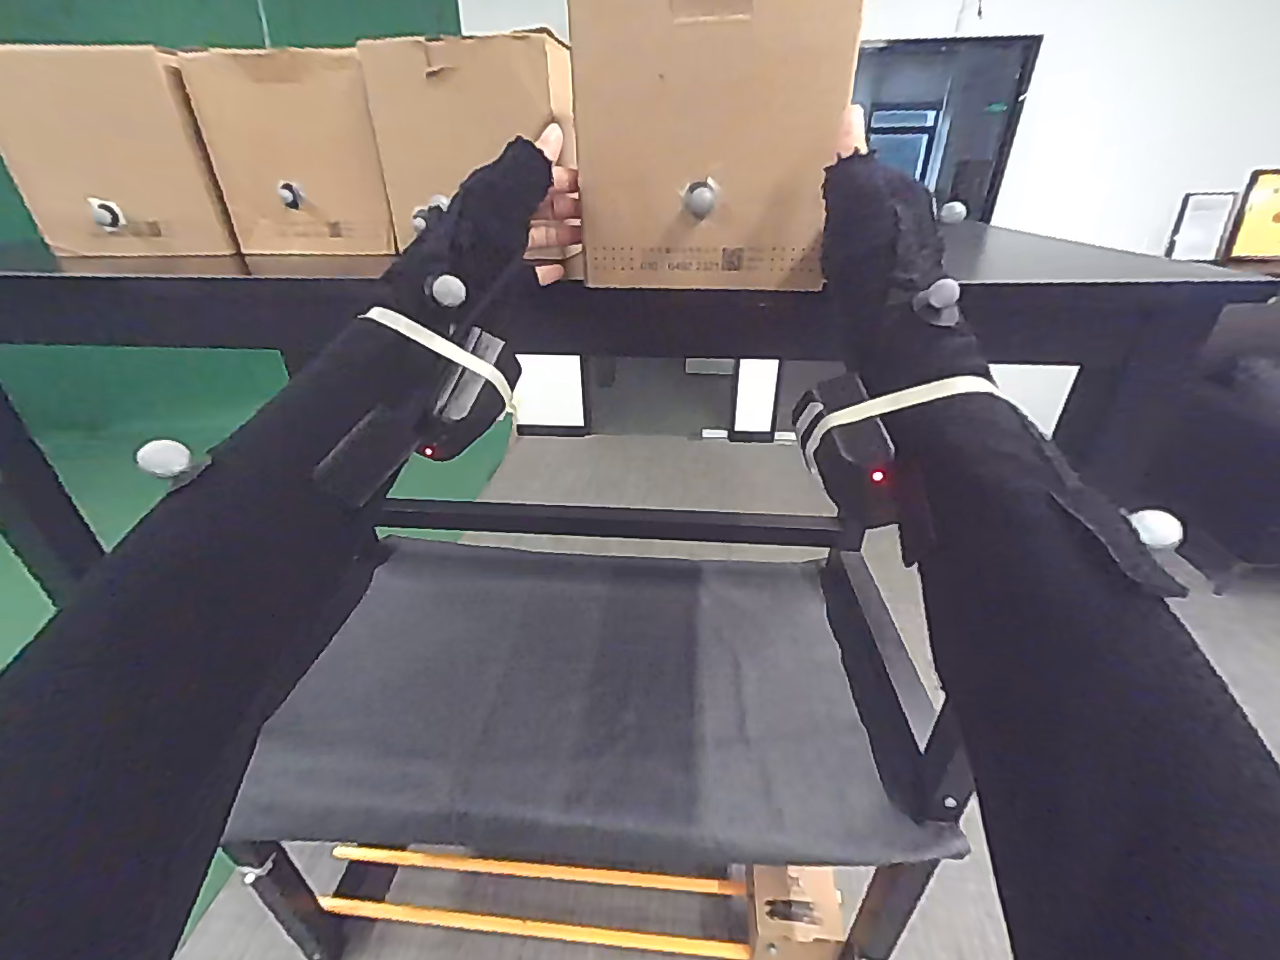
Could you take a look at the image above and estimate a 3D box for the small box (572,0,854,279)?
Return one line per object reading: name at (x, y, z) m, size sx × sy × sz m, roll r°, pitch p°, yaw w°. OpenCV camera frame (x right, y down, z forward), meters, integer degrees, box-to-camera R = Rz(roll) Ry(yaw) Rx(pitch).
small box at (0.051, -0.256, 0.411) m, size 0.168 × 0.176 × 0.179 m, roll 3°, pitch 30°, yaw 8°
